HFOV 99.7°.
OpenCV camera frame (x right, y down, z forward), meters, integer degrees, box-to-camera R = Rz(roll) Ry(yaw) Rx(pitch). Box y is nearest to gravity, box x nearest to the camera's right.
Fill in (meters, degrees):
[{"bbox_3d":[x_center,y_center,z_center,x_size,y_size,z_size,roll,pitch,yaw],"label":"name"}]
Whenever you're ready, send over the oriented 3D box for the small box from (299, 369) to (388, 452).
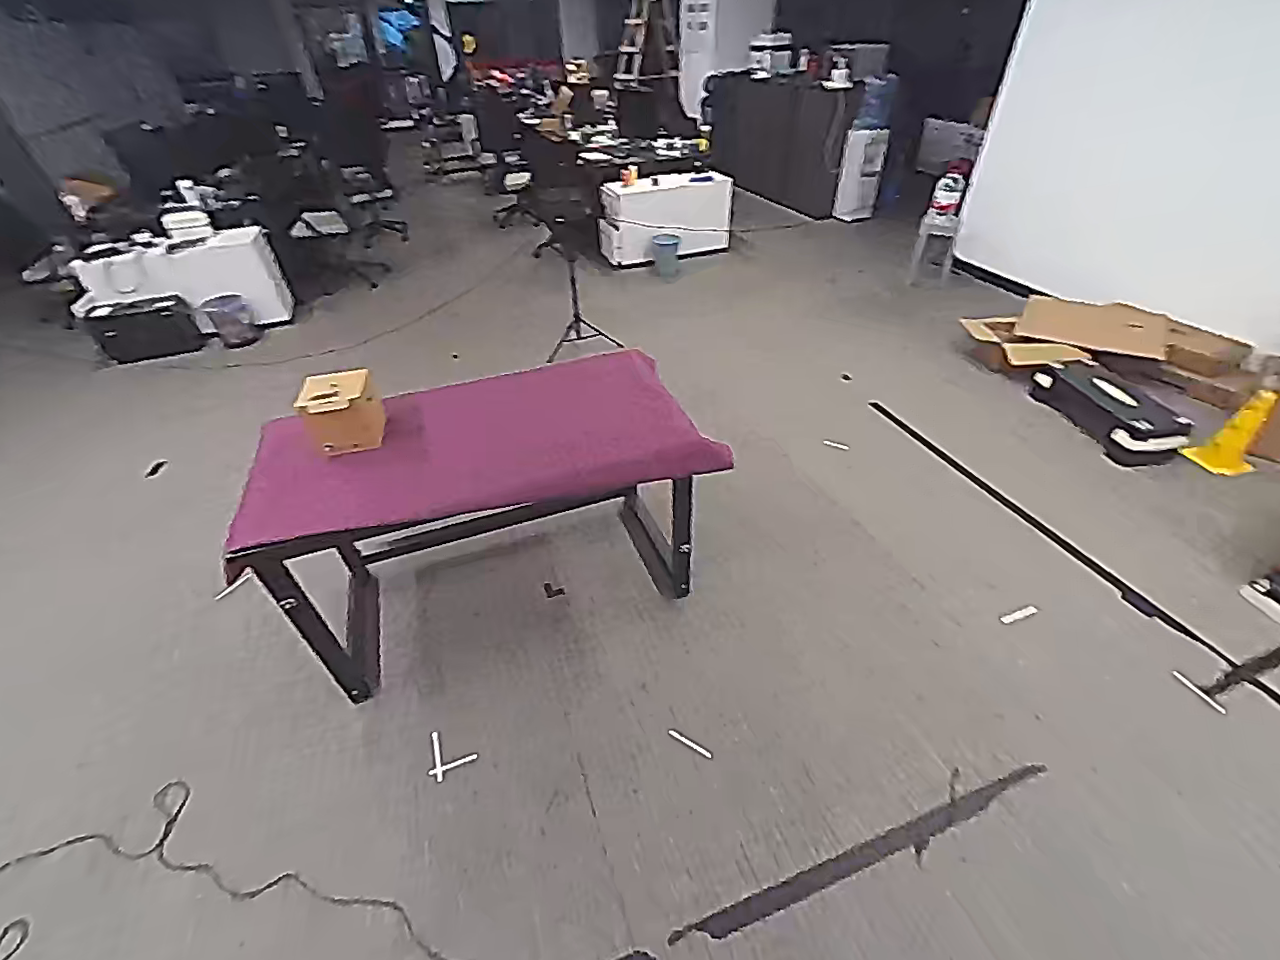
[{"bbox_3d":[-0.841,-0.195,1.555,0.168,0.176,0.179,-11,41,-10],"label":"small box"}]
